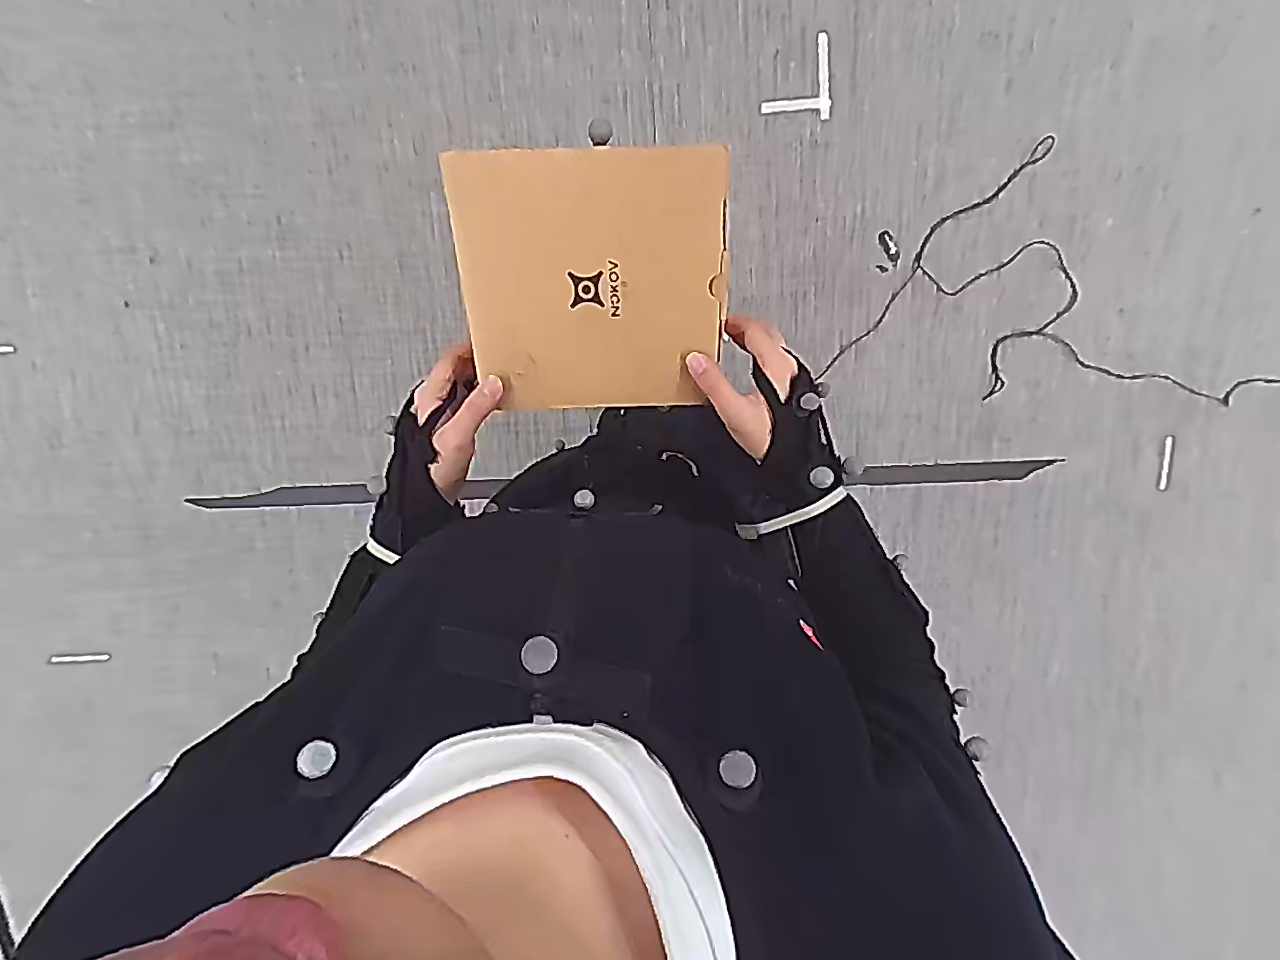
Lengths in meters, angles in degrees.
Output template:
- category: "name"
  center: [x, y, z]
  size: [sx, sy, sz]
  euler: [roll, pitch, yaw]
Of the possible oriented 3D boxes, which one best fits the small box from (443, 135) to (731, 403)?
- category: "small box"
  center: [-0.031, -0.166, 0.428]
  size: [0.179, 0.176, 0.168]
  euler: [-2, 118, 0]
